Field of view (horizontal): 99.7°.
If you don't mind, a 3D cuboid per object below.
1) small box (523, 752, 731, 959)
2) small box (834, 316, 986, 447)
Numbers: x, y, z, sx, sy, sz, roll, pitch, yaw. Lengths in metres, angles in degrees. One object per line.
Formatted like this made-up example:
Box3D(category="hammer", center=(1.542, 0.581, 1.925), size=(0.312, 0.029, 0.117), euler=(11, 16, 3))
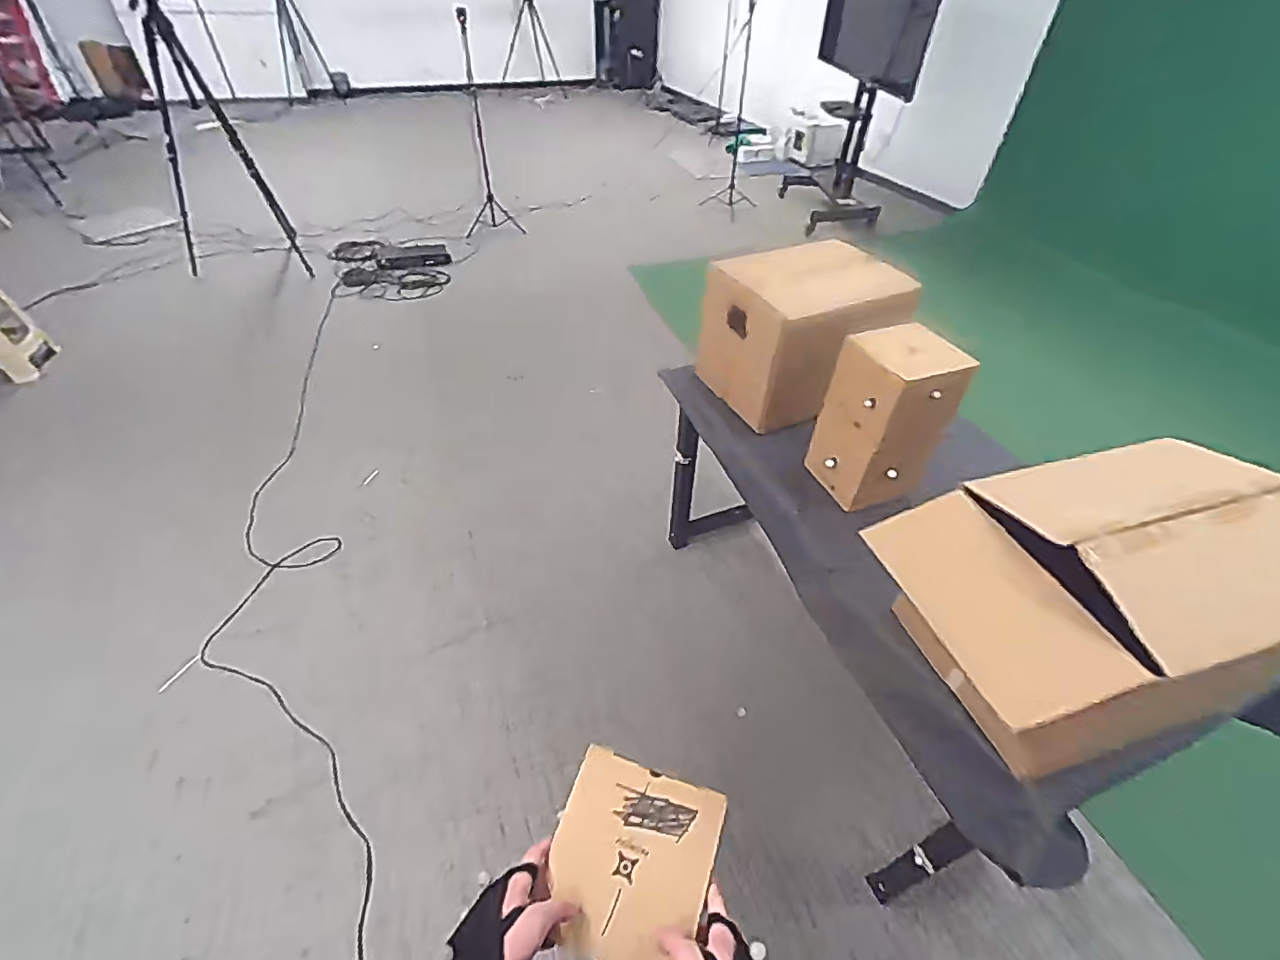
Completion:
Box3D(category="small box", center=(-0.006, 0.438, 0.606), size=(0.168, 0.176, 0.179), euler=(15, 57, 14))
Box3D(category="small box", center=(0.491, -0.183, 1.021), size=(0.179, 0.176, 0.168), euler=(-14, 48, -17))
